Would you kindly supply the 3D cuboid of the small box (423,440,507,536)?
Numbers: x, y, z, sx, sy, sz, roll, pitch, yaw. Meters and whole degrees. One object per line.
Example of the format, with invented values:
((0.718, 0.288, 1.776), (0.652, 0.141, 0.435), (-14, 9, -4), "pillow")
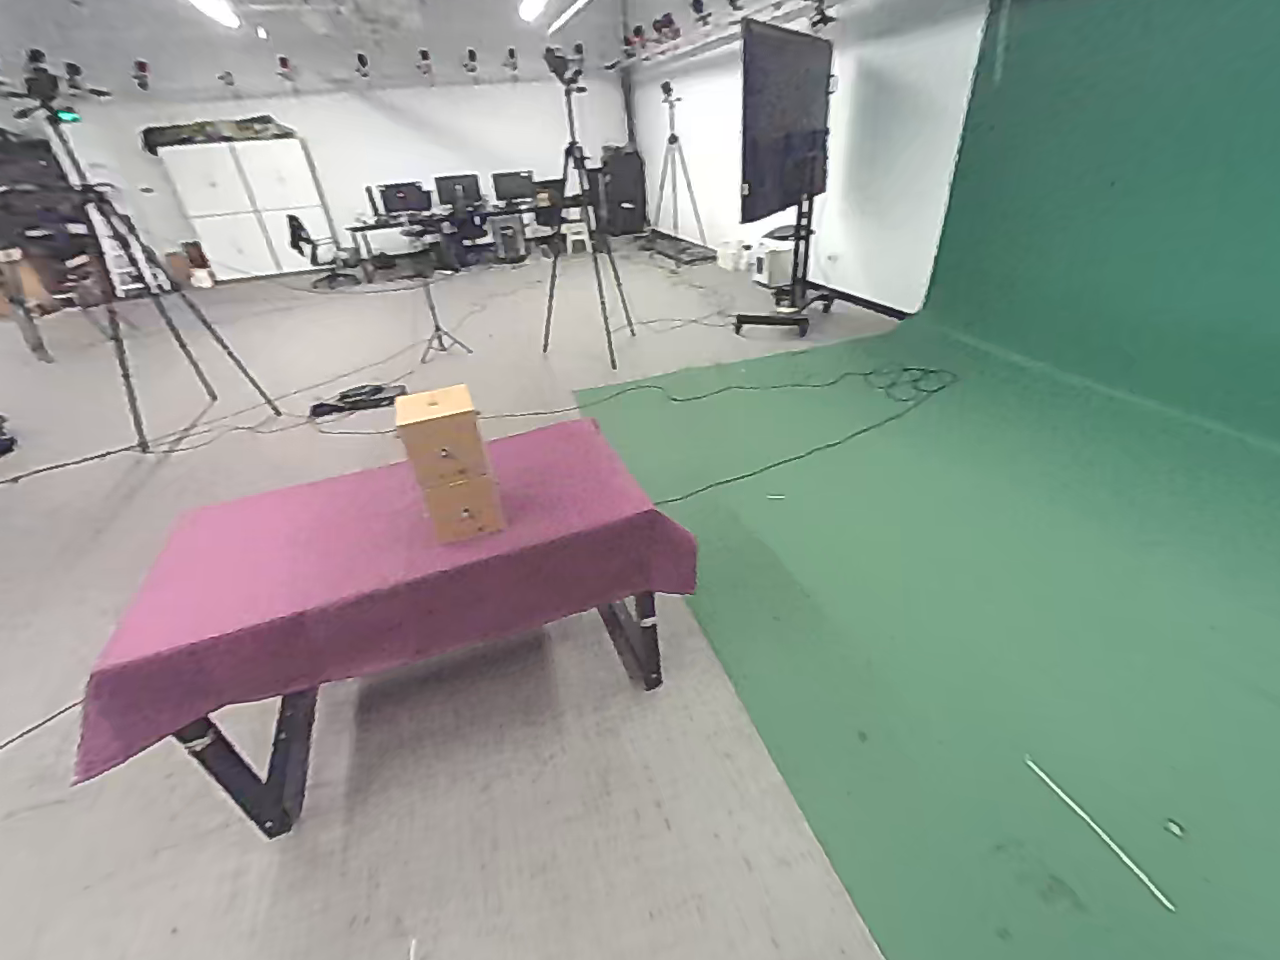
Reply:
((-0.442, 0.024, 1.367), (0.168, 0.176, 0.179), (-14, 35, -15), "small box")

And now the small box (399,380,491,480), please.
((-0.457, -0.114, 1.277), (0.168, 0.176, 0.179), (-15, 34, -15), "small box")
